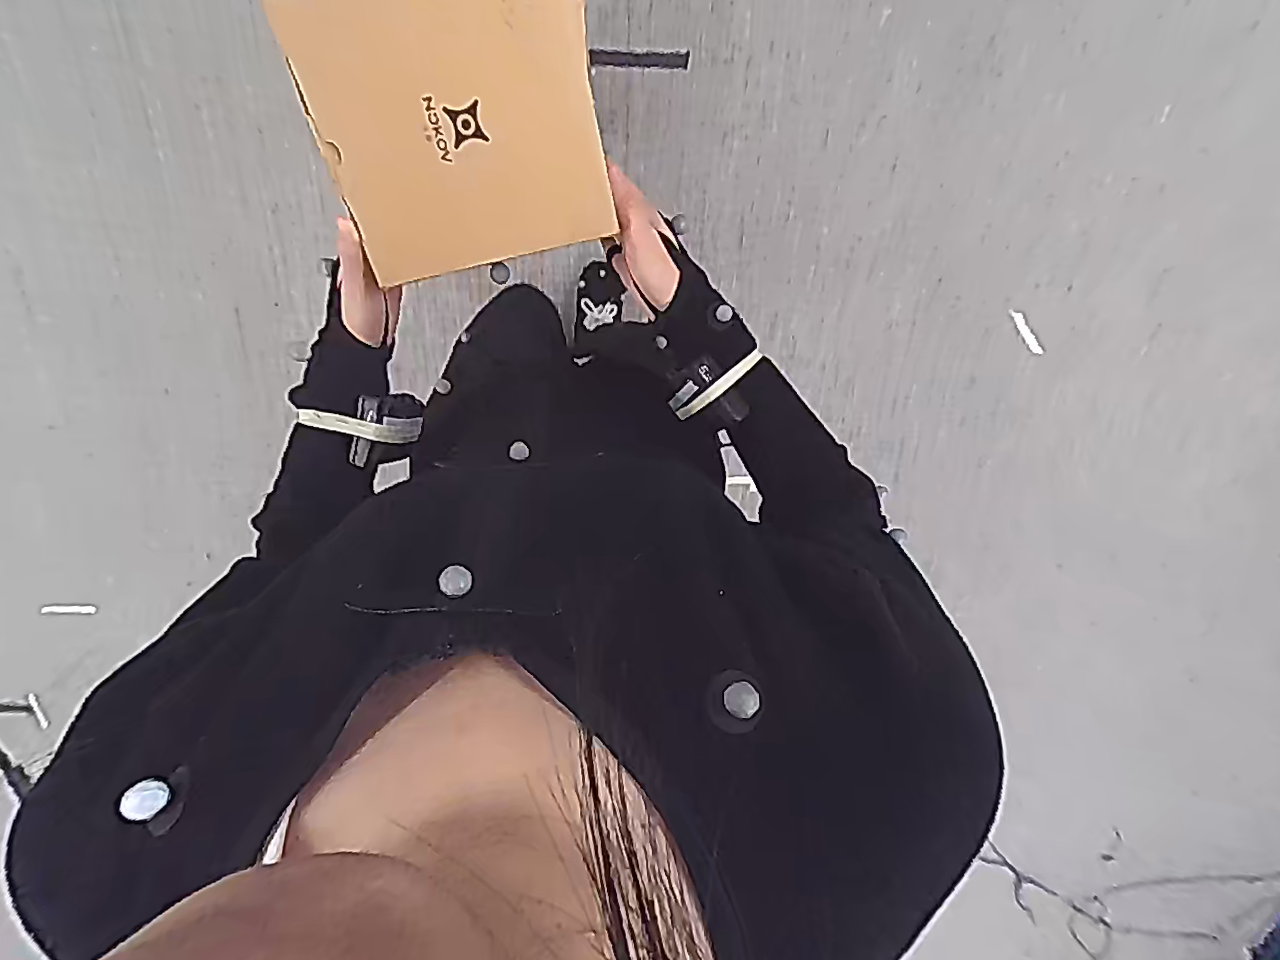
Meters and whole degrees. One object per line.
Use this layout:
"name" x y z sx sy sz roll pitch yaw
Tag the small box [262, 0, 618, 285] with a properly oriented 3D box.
"small box" -0.124 -0.263 0.413 0.179 0.176 0.168 -13 118 0
